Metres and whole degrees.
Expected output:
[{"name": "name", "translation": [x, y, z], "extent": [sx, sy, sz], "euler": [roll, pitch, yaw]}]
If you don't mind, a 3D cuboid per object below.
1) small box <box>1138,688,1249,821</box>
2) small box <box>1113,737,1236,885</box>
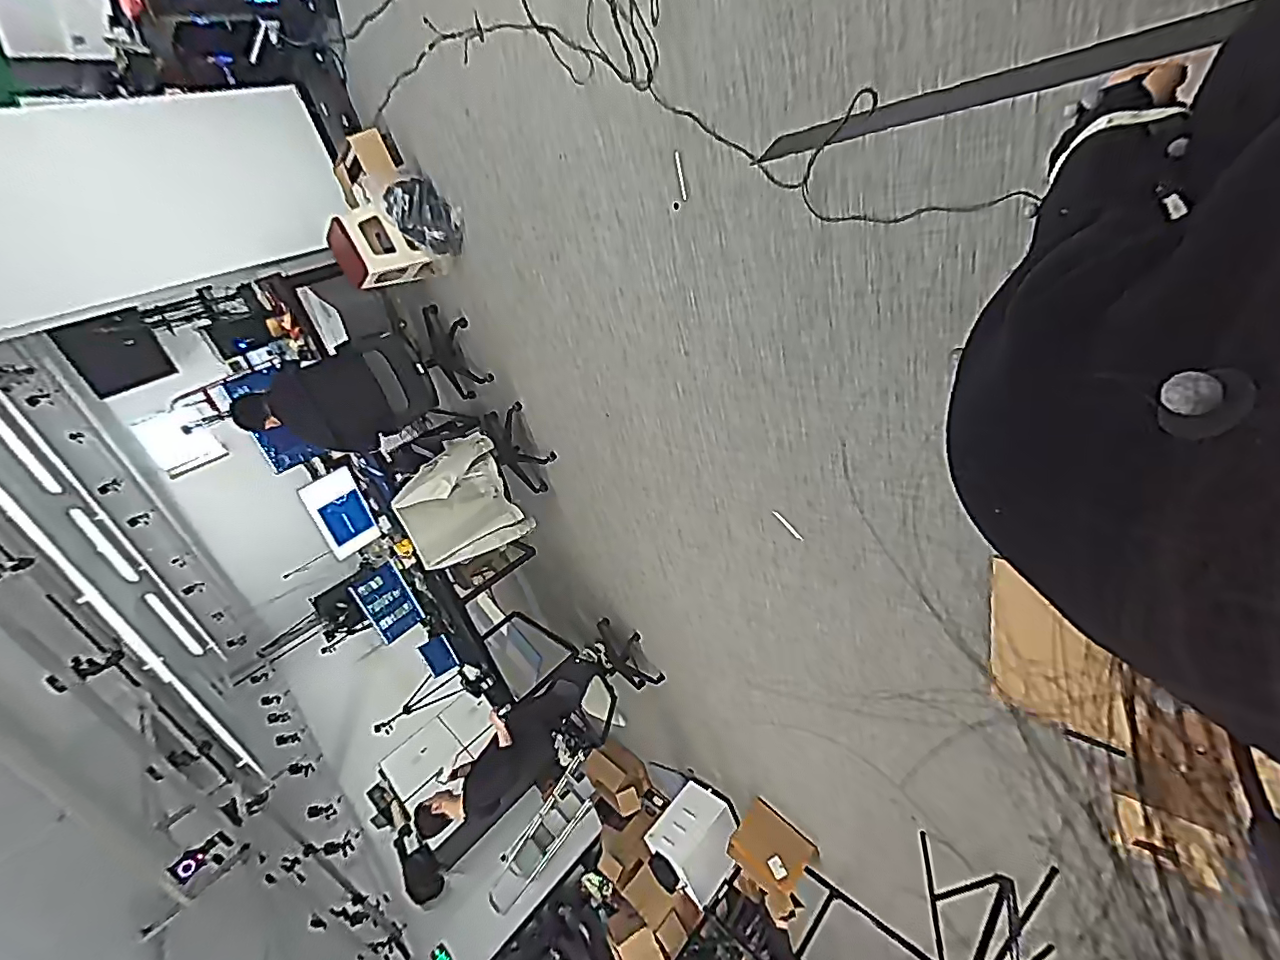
[{"name": "small box", "translation": [1.275, 0.626, 1.250], "extent": [0.168, 0.176, 0.179], "euler": [9, 127, 48]}, {"name": "small box", "translation": [1.154, 0.704, 1.170], "extent": [0.168, 0.176, 0.179], "euler": [9, 126, 49]}]
